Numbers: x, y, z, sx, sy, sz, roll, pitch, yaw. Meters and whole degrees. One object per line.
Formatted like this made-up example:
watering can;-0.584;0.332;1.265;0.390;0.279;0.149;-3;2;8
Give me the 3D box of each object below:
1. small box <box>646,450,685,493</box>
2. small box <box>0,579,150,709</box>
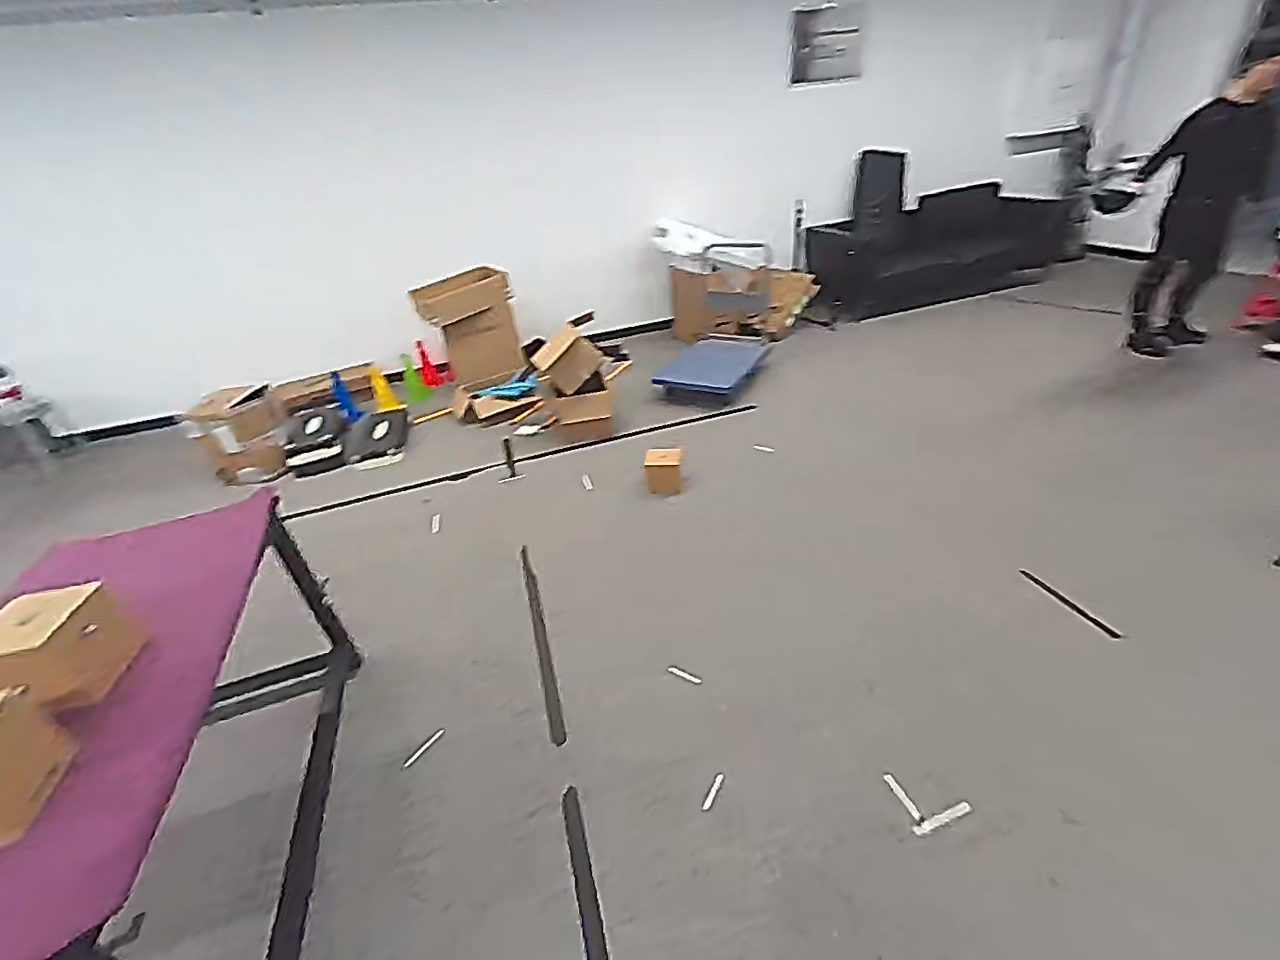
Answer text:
small box;0.136;-0.043;2.816;0.179;0.176;0.168;0;32;10
small box;-1.138;0.328;1.068;0.168;0.176;0.179;-10;32;-6
